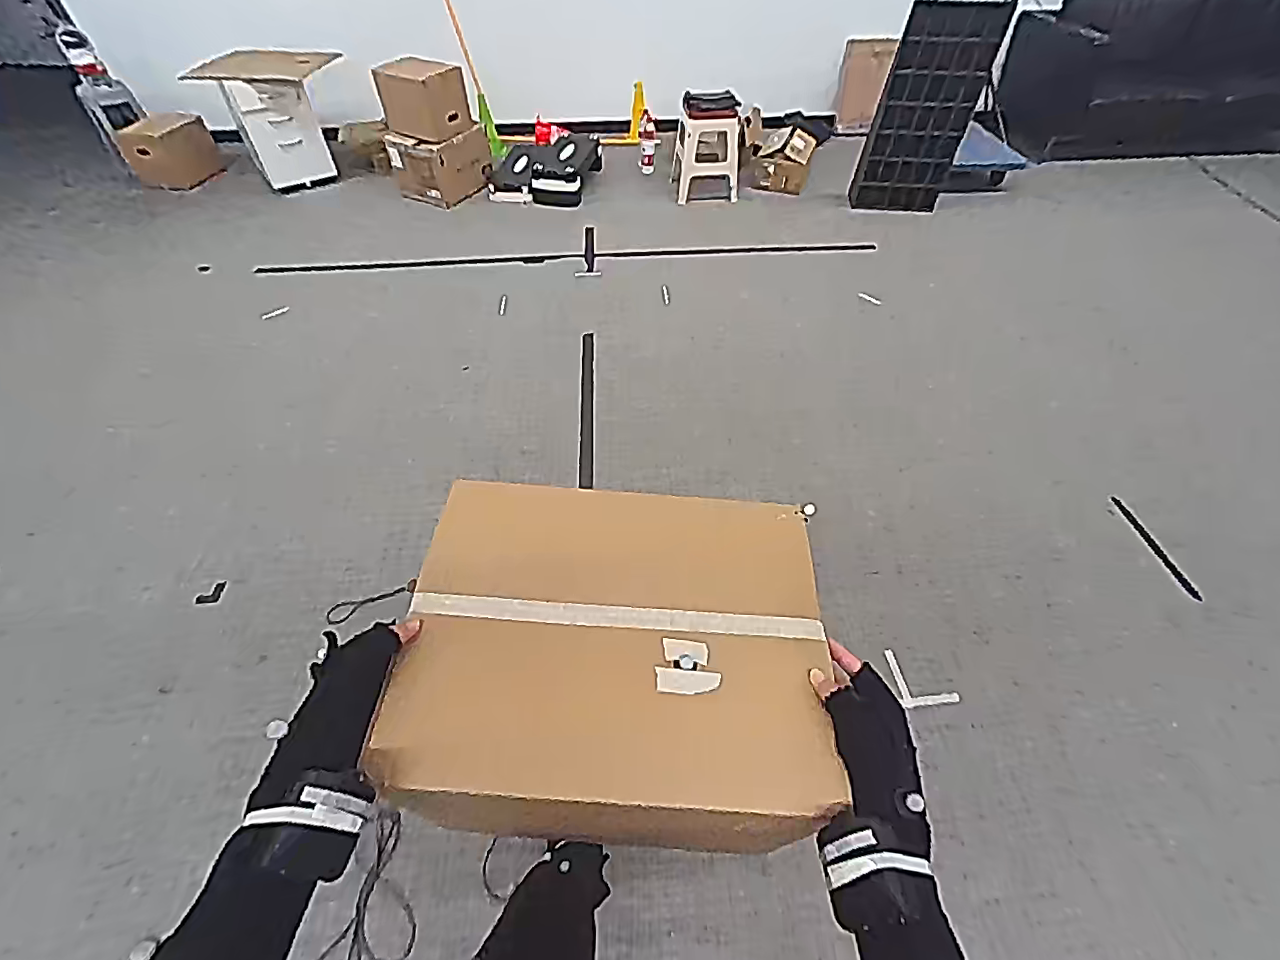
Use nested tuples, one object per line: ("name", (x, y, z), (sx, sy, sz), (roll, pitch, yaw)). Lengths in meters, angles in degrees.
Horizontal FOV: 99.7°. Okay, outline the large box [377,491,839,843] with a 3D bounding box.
("large box", (-0.029, 0.238, 0.665), (0.408, 0.320, 0.320), (5, 52, -1))
